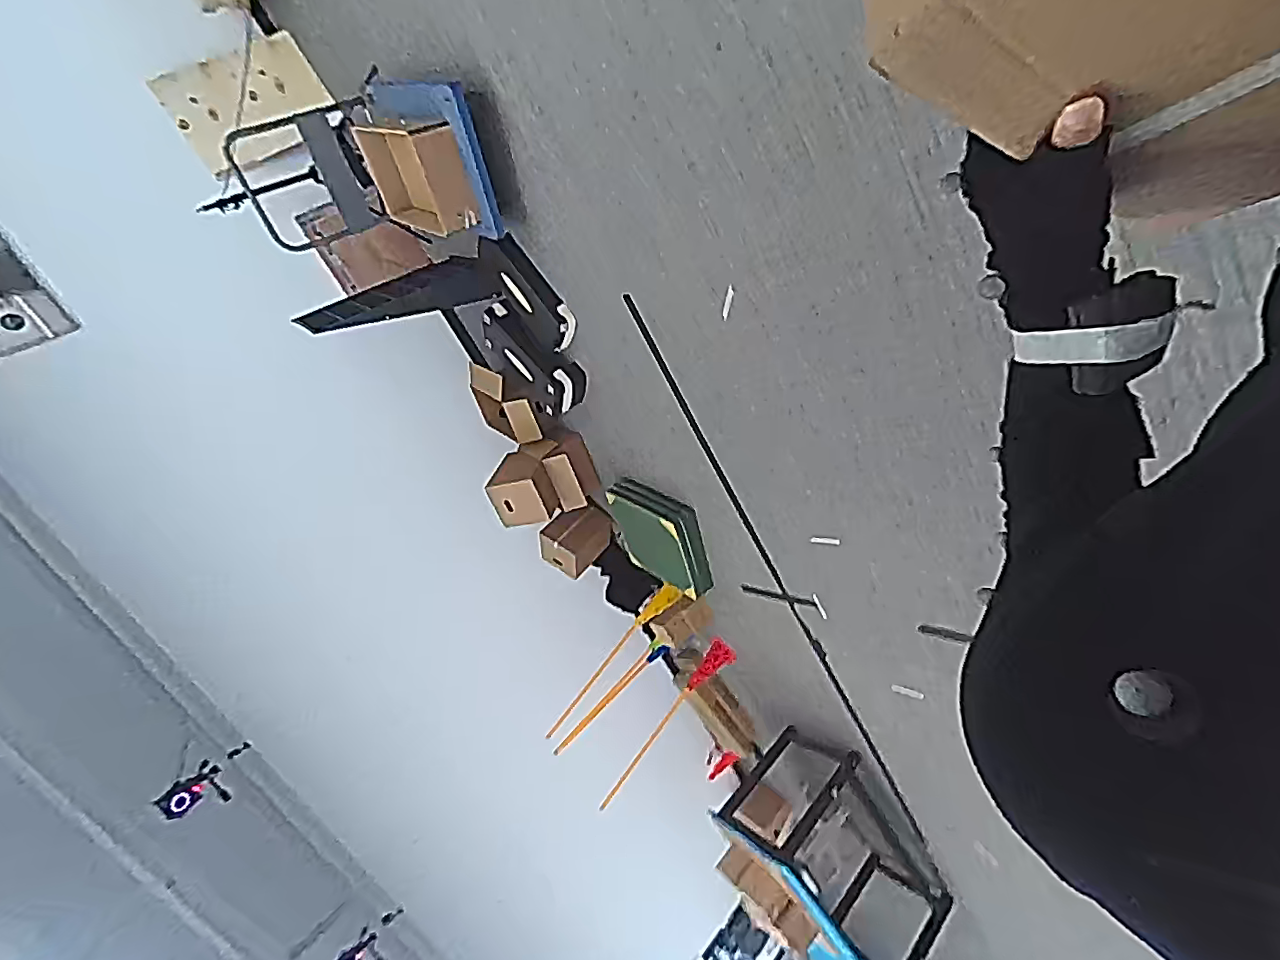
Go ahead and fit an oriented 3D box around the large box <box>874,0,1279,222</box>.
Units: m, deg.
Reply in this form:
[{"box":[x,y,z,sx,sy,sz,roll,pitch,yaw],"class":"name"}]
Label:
[{"box":[0.331,-0.352,0.155,0.408,0.320,0.320,-7,83,60],"class":"large box"}]
